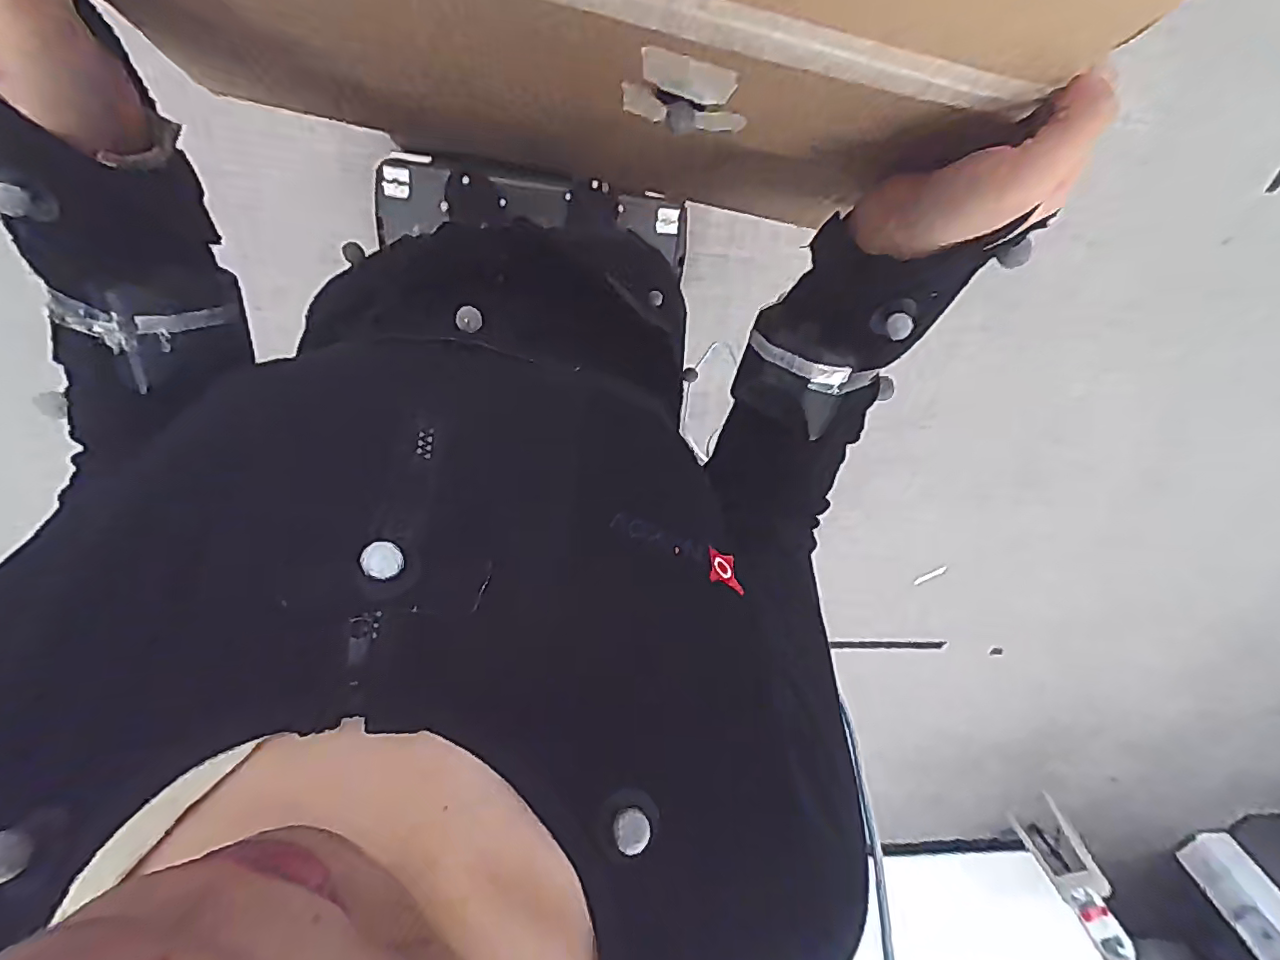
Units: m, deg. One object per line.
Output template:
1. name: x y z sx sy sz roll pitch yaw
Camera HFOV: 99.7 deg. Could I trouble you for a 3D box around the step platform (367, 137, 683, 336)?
1. step platform: -0.247 -0.545 1.241 0.684 0.204 0.286 9 122 -10
